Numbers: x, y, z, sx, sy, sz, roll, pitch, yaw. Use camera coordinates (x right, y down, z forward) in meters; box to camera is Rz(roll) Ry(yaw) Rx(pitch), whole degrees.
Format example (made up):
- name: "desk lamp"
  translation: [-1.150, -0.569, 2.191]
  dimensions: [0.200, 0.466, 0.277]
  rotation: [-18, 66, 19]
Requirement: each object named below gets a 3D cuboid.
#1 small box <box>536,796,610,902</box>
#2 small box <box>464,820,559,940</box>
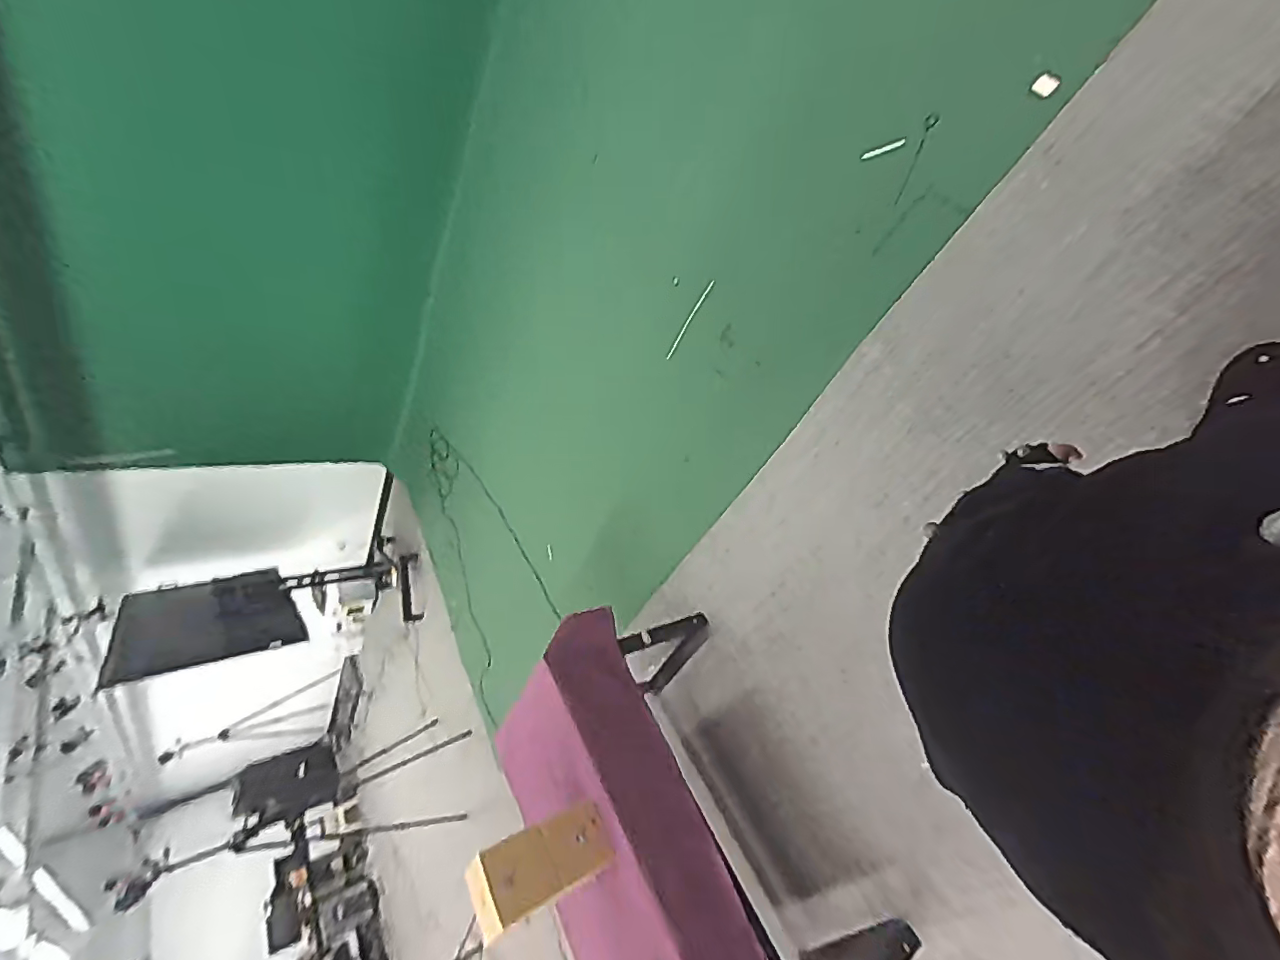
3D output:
- name: "small box"
  translation: [-0.205, 1.019, 1.506]
  dimensions: [0.168, 0.176, 0.179]
  rotation: [55, 131, 31]
- name: "small box"
  translation: [-0.332, 1.028, 1.399]
  dimensions: [0.179, 0.176, 0.168]
  rotation: [54, 131, 31]
